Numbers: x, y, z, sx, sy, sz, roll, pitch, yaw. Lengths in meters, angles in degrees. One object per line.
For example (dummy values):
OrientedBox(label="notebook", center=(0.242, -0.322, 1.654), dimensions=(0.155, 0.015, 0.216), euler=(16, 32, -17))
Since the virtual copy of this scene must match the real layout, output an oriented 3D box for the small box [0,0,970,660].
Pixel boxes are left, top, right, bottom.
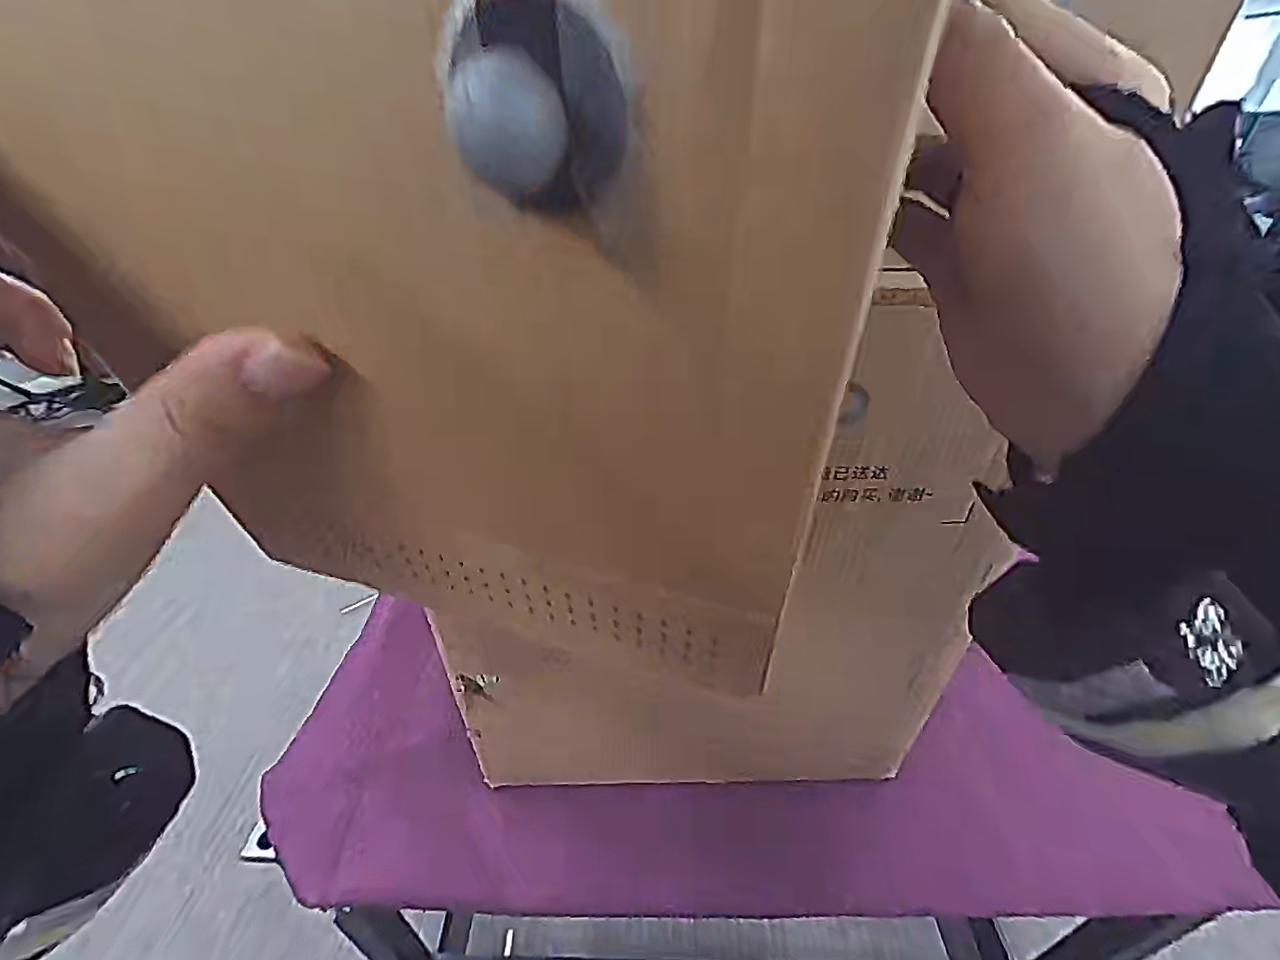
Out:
OrientedBox(label="small box", center=(-0.021, -0.072, 0.164), dimensions=(0.179, 0.176, 0.168), euler=(12, 45, 14))
